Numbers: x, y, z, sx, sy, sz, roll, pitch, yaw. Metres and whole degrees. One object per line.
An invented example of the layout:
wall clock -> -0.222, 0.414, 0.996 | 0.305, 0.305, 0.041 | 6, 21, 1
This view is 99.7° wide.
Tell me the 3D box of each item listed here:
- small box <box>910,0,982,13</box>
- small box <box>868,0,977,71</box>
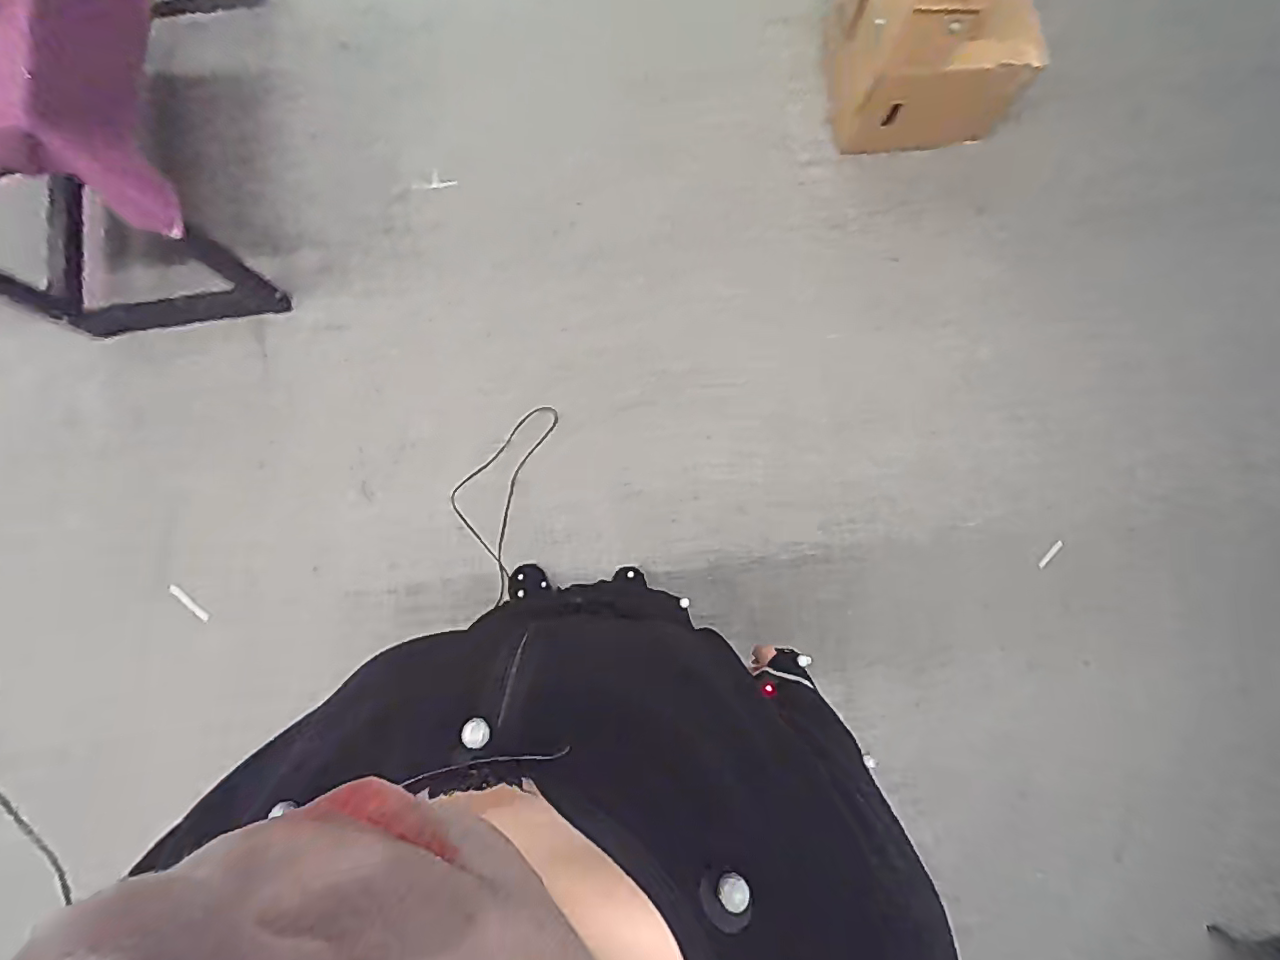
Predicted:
small box -> 0.706, -1.185, 1.188 | 0.168, 0.176, 0.179 | -2, 83, -3
small box -> 0.698, -1.165, 1.350 | 0.179, 0.176, 0.168 | -3, 82, -3
